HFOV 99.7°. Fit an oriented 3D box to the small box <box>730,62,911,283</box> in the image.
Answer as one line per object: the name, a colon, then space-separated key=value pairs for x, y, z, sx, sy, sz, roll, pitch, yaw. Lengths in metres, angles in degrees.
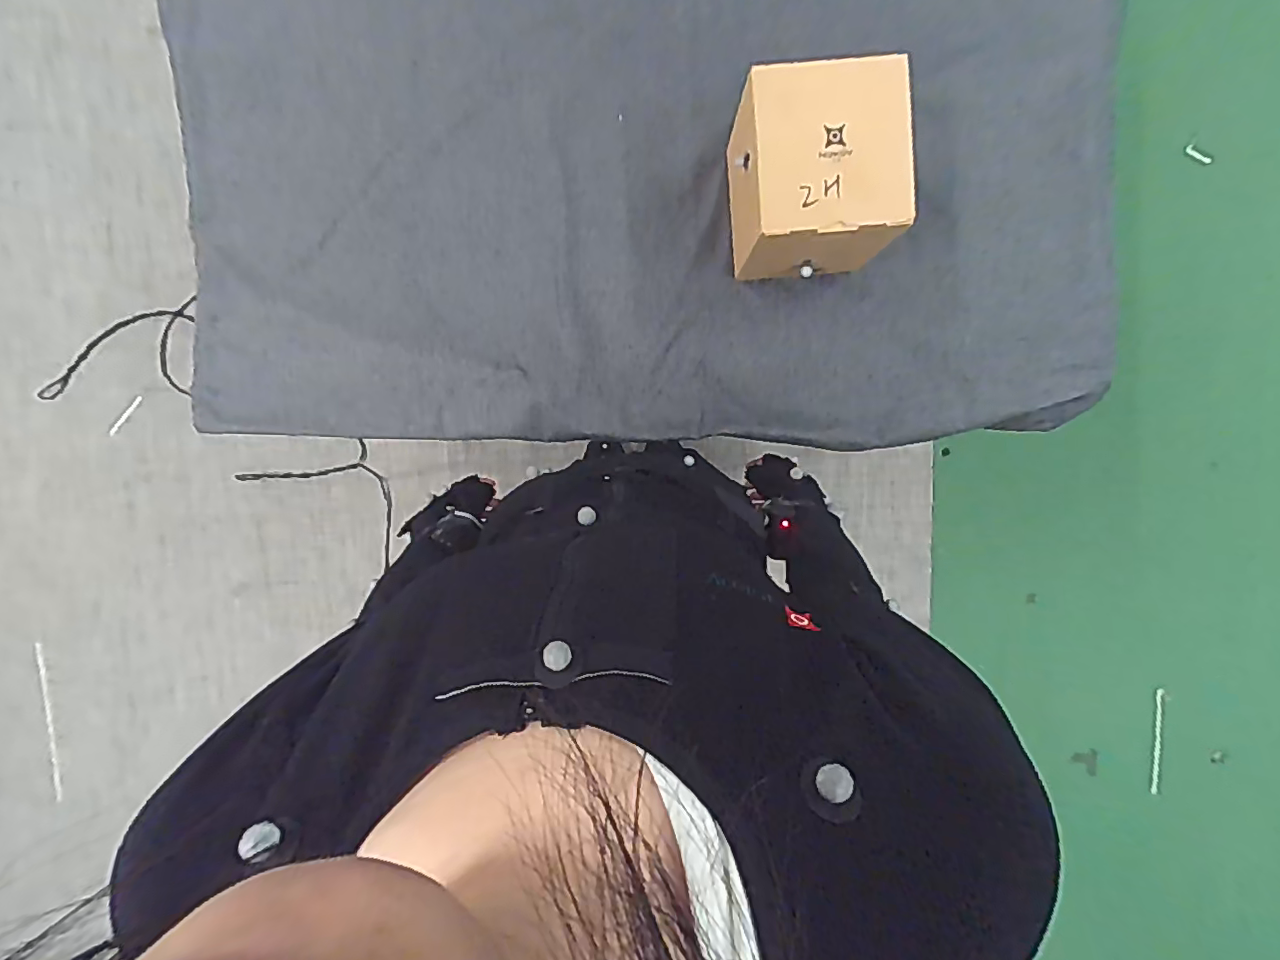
small box: x=0.206 y=-0.357 z=0.659 sx=0.168 sy=0.176 sz=0.179 roll=-4 pitch=94 yaw=1
